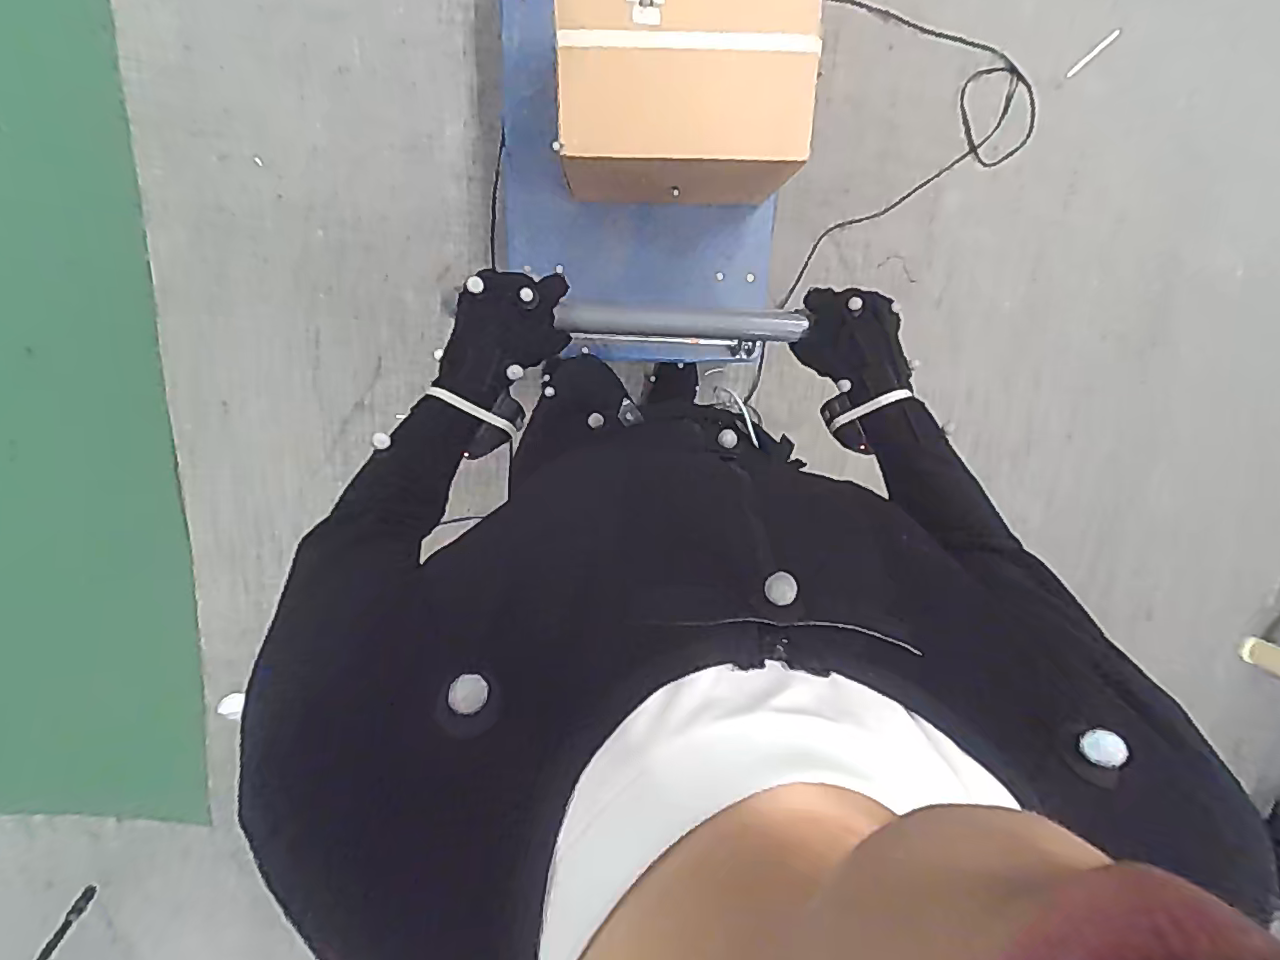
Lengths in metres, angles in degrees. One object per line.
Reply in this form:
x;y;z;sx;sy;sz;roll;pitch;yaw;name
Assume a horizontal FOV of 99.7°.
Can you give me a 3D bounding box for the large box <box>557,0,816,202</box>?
0.071;-0.705;0.982;0.408;0.320;0.320;0;104;-1;large box
